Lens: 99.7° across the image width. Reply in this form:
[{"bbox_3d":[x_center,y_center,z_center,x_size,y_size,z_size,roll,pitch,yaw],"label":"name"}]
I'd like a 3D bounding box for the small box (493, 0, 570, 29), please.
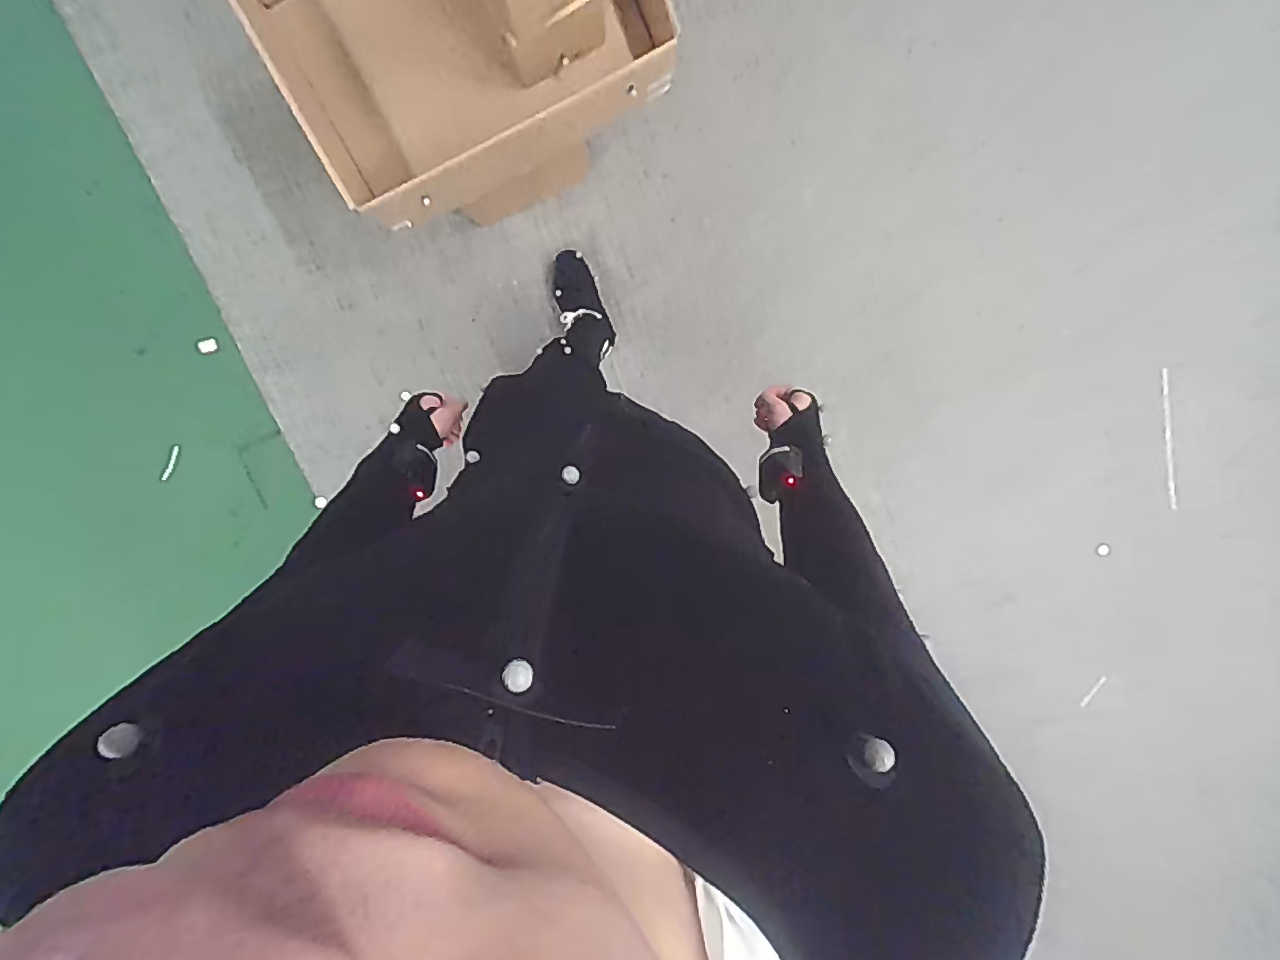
[{"bbox_3d":[-0.153,-0.743,0.704,0.168,0.176,0.179,-32,106,5],"label":"small box"}]
